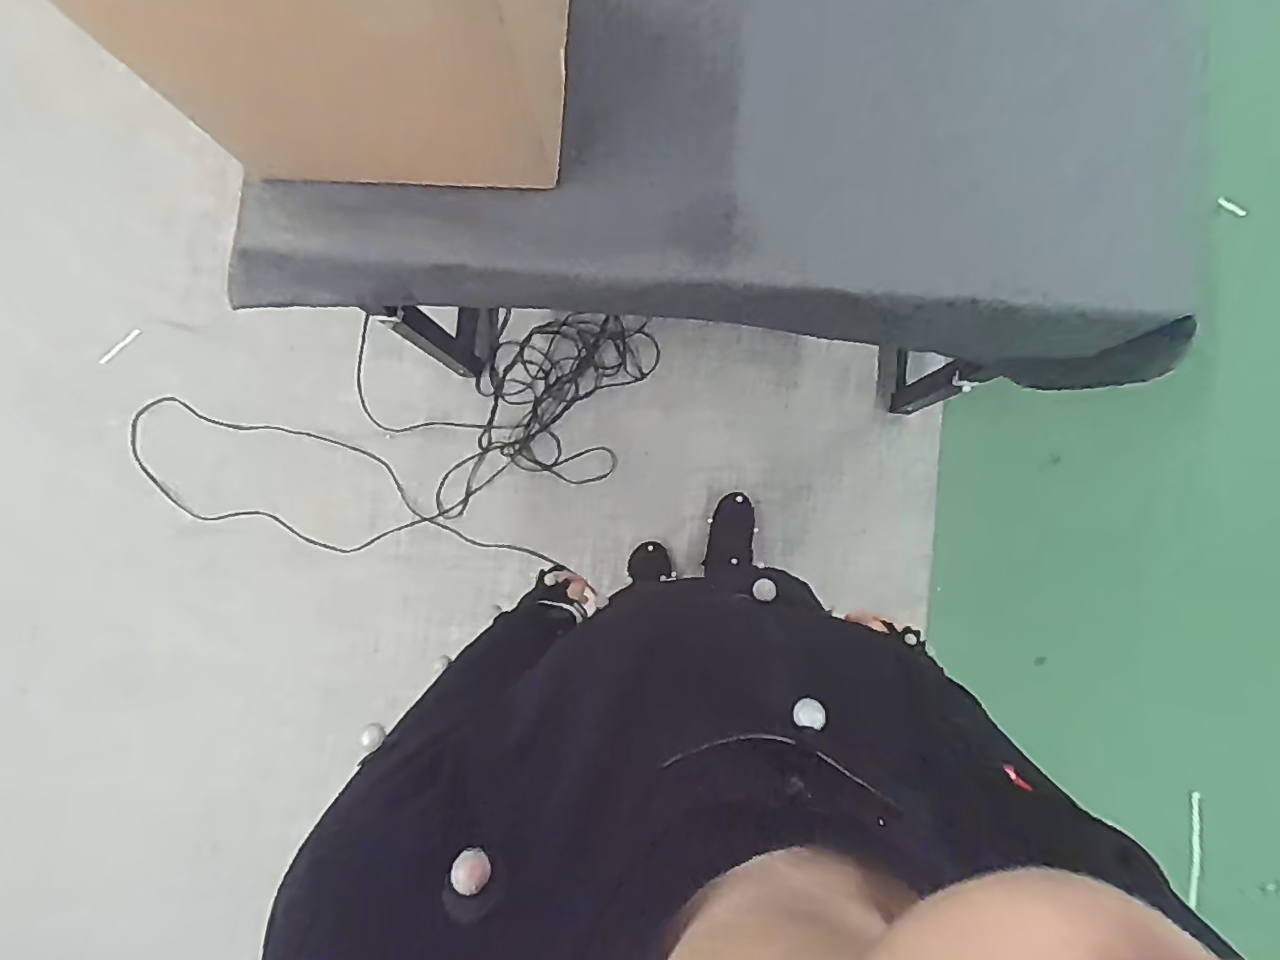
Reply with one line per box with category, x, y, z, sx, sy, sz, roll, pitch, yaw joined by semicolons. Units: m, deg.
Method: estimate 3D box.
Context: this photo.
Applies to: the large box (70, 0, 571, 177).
large box;-0.296;-0.553;0.562;0.408;0.320;0.320;2;87;1
